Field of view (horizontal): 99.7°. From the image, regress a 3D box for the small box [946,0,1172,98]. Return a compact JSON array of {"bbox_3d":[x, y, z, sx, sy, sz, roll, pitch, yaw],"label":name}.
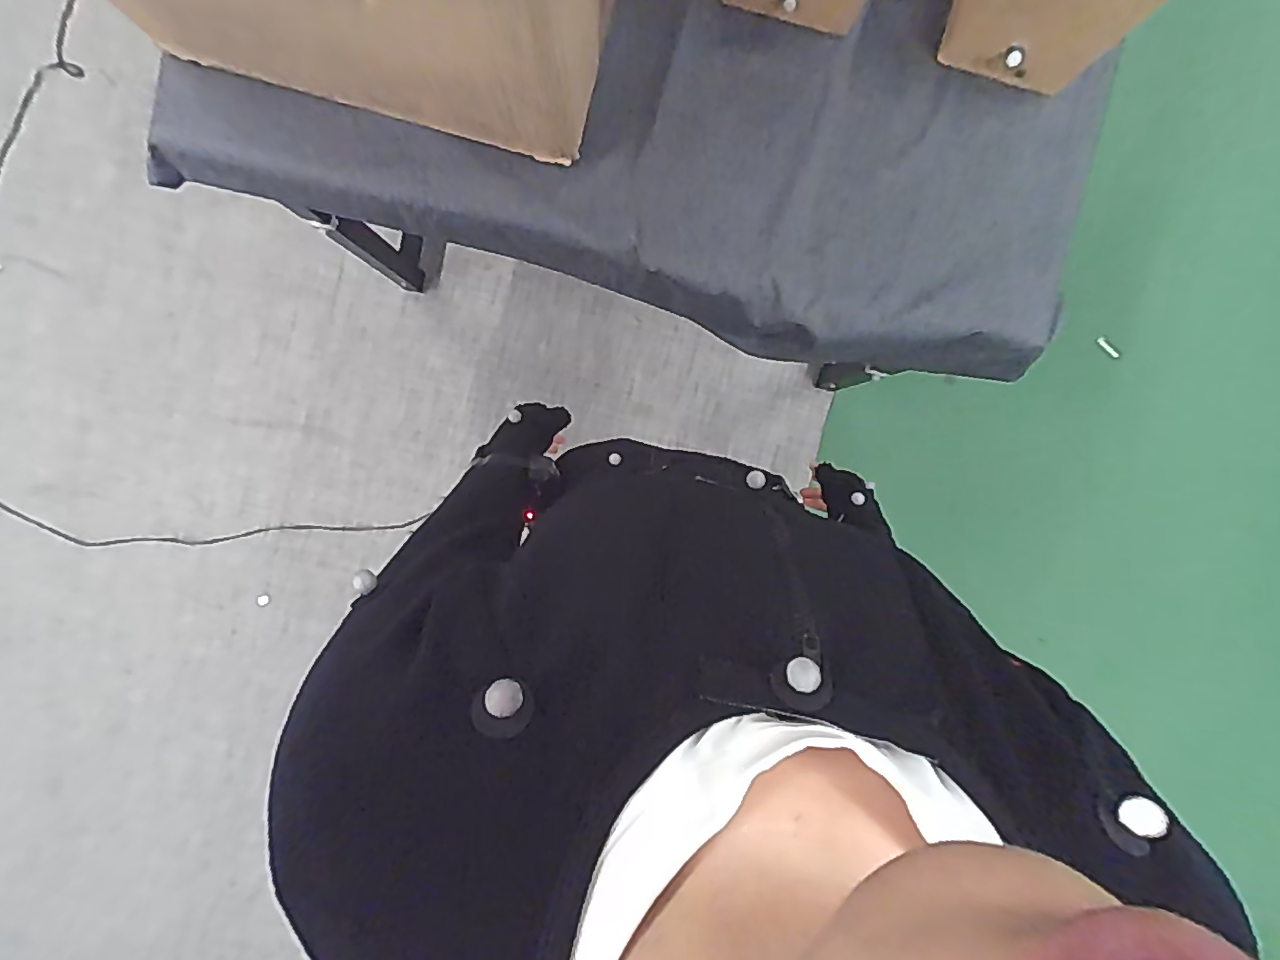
[{"bbox_3d":[0.498,-0.607,0.634,0.168,0.176,0.179,16,94,-2],"label":"small box"}]
